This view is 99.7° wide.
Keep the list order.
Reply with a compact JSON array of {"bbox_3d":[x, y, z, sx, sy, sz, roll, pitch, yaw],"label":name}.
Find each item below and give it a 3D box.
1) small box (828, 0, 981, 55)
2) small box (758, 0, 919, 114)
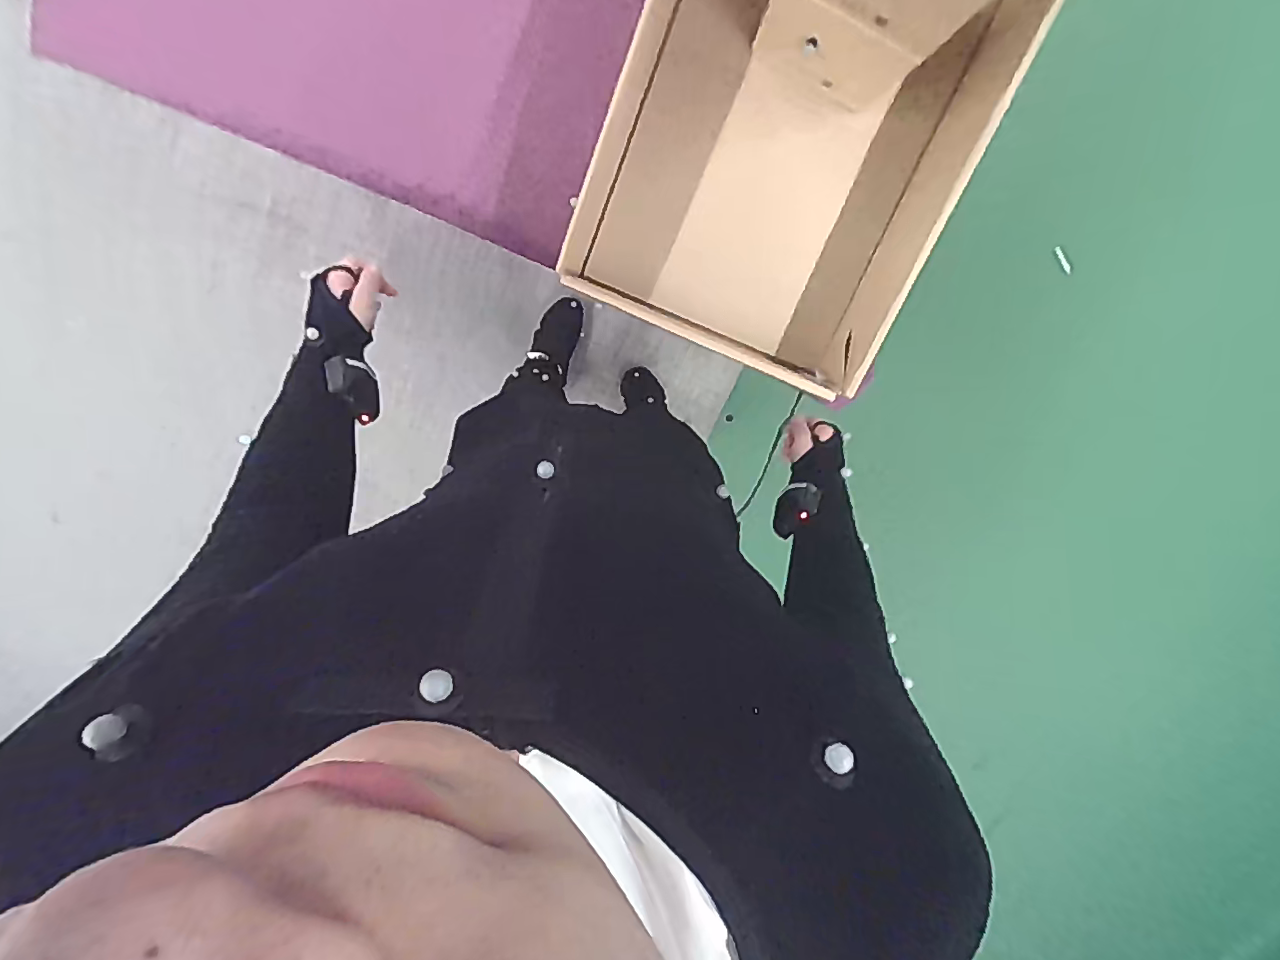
[{"bbox_3d":[0.248,-0.504,0.442,0.168,0.176,0.179,25,106,-7],"label":"small box"},{"bbox_3d":[0.246,-0.552,0.599,0.168,0.176,0.179,25,106,-7],"label":"small box"}]
